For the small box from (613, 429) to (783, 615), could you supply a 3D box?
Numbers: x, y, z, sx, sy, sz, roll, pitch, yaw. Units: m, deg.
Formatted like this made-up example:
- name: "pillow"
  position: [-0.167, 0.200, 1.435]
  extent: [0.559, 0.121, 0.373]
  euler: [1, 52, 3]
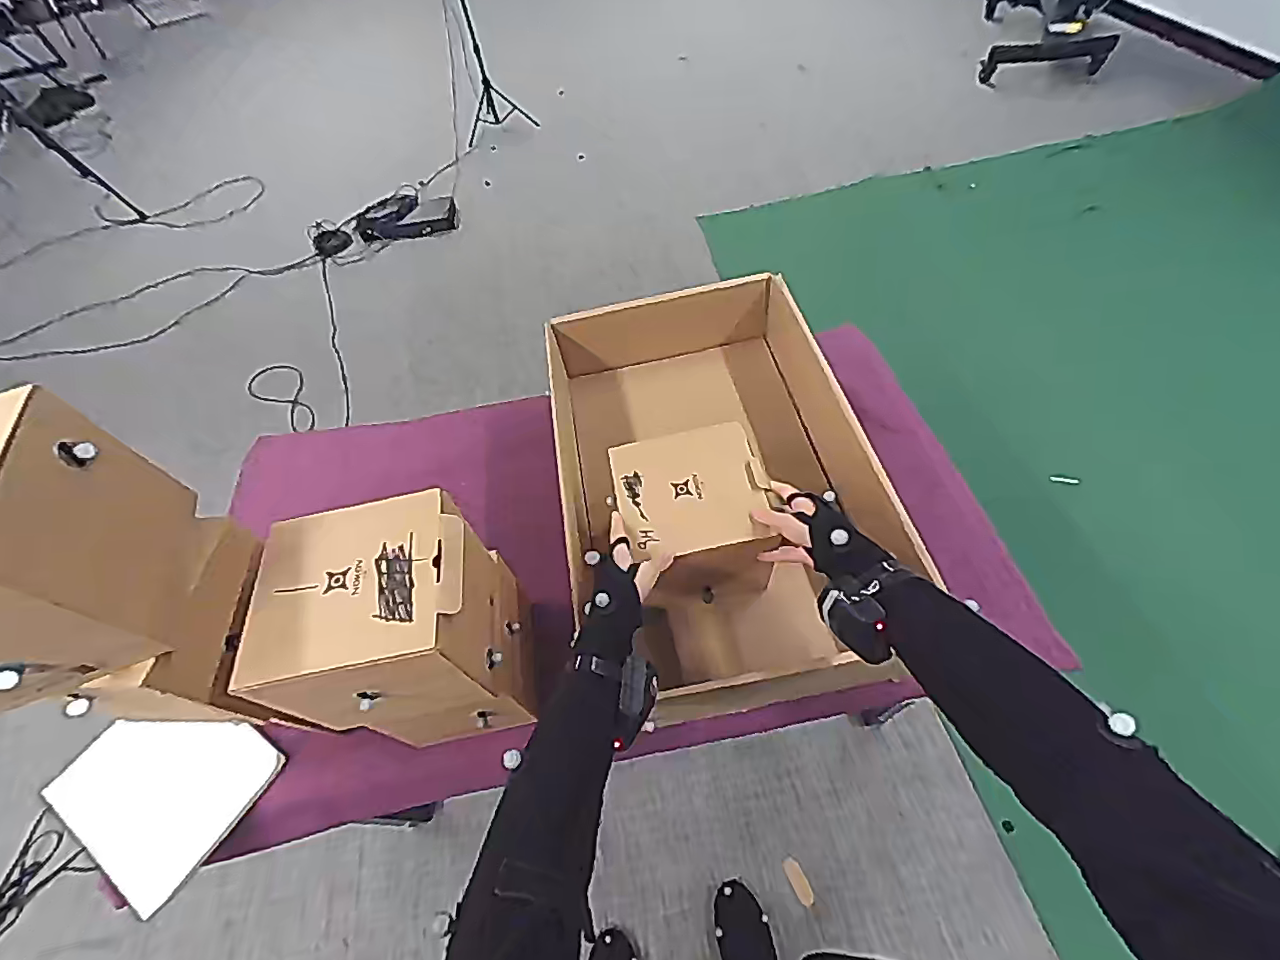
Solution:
- name: "small box"
  position: [0.068, 0.060, 0.705]
  extent: [0.179, 0.176, 0.168]
  euler: [-11, 56, 0]

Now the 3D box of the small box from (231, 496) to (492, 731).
- name: "small box"
  position: [-0.256, 0.141, 0.554]
  extent: [0.179, 0.176, 0.168]
  euler: [-11, 54, -3]

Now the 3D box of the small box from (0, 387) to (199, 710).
- name: "small box"
  position: [-0.510, 0.061, 0.441]
  extent: [0.168, 0.176, 0.179]
  euler: [-20, 56, -6]
